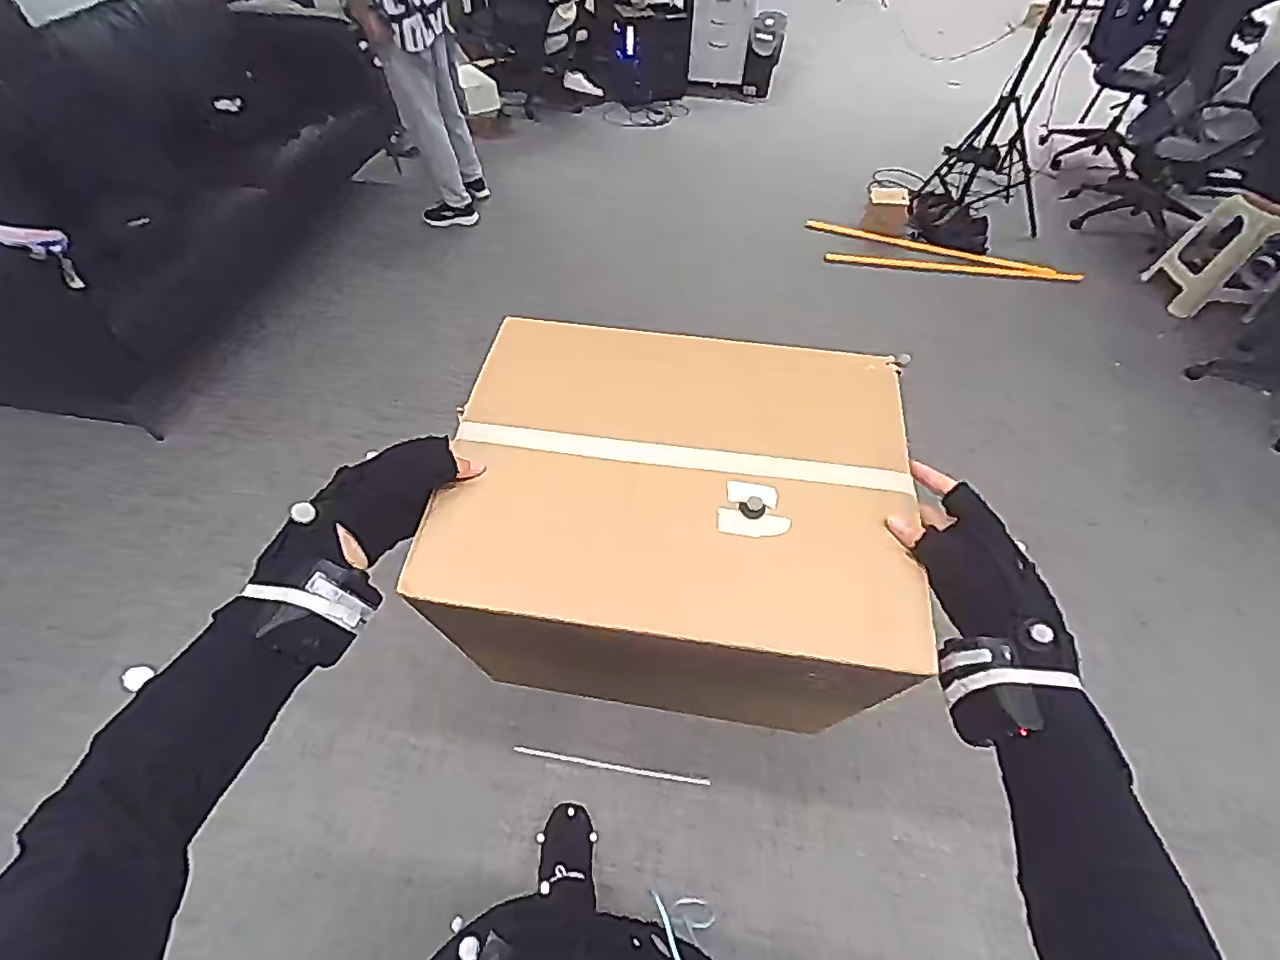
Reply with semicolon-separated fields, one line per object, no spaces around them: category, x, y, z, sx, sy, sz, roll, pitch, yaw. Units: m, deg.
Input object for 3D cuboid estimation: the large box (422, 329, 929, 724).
large box;0.037;0.065;0.618;0.408;0.320;0.320;8;58;4
